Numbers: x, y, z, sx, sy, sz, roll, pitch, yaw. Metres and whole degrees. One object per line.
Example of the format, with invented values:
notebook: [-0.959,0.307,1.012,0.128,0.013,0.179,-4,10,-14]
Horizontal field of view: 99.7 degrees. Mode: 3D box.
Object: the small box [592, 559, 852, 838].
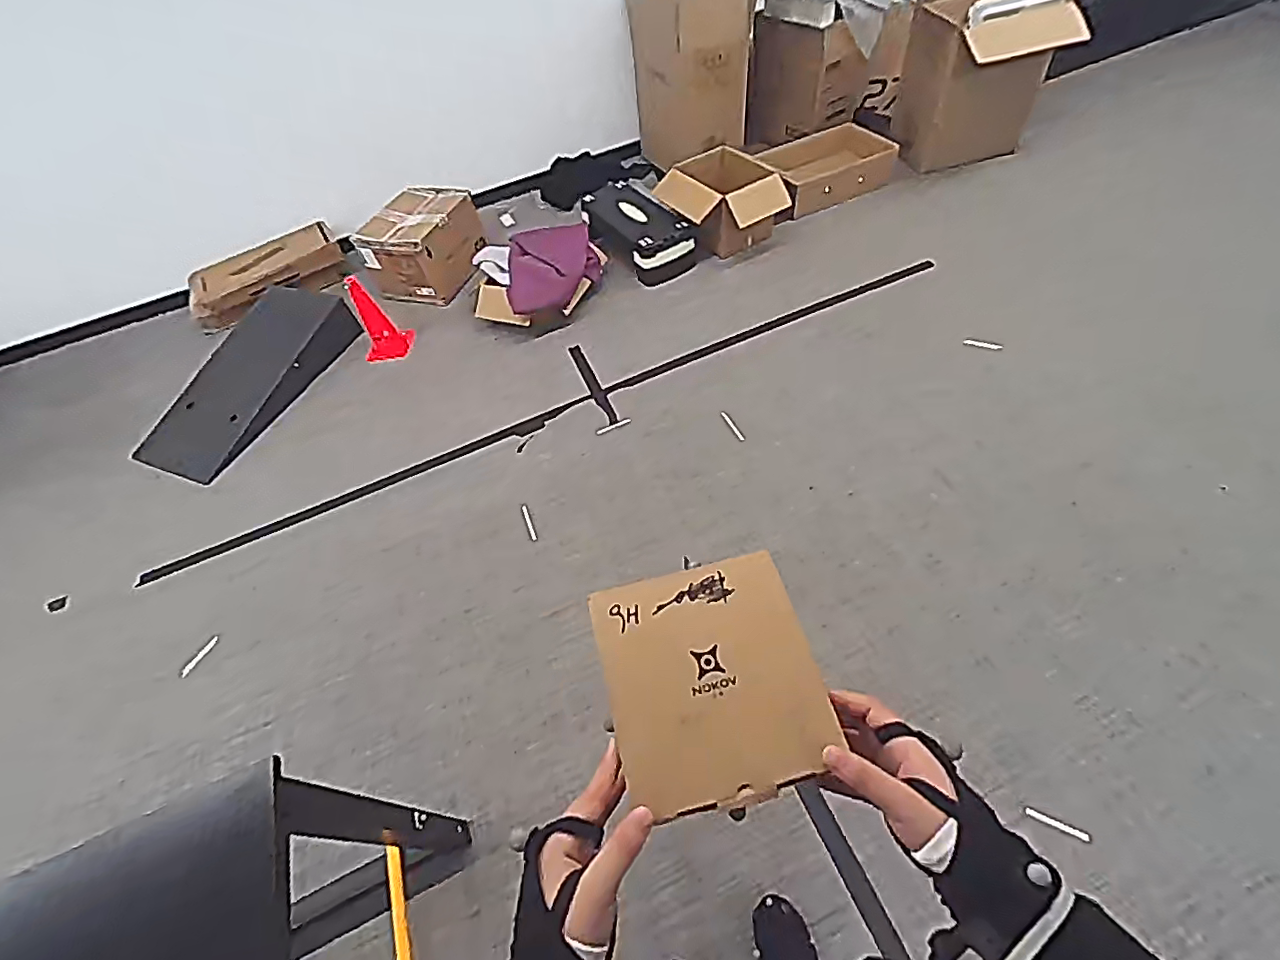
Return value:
small box: [0.061,0.196,0.493,0.168,0.176,0.179,-13,62,-5]
